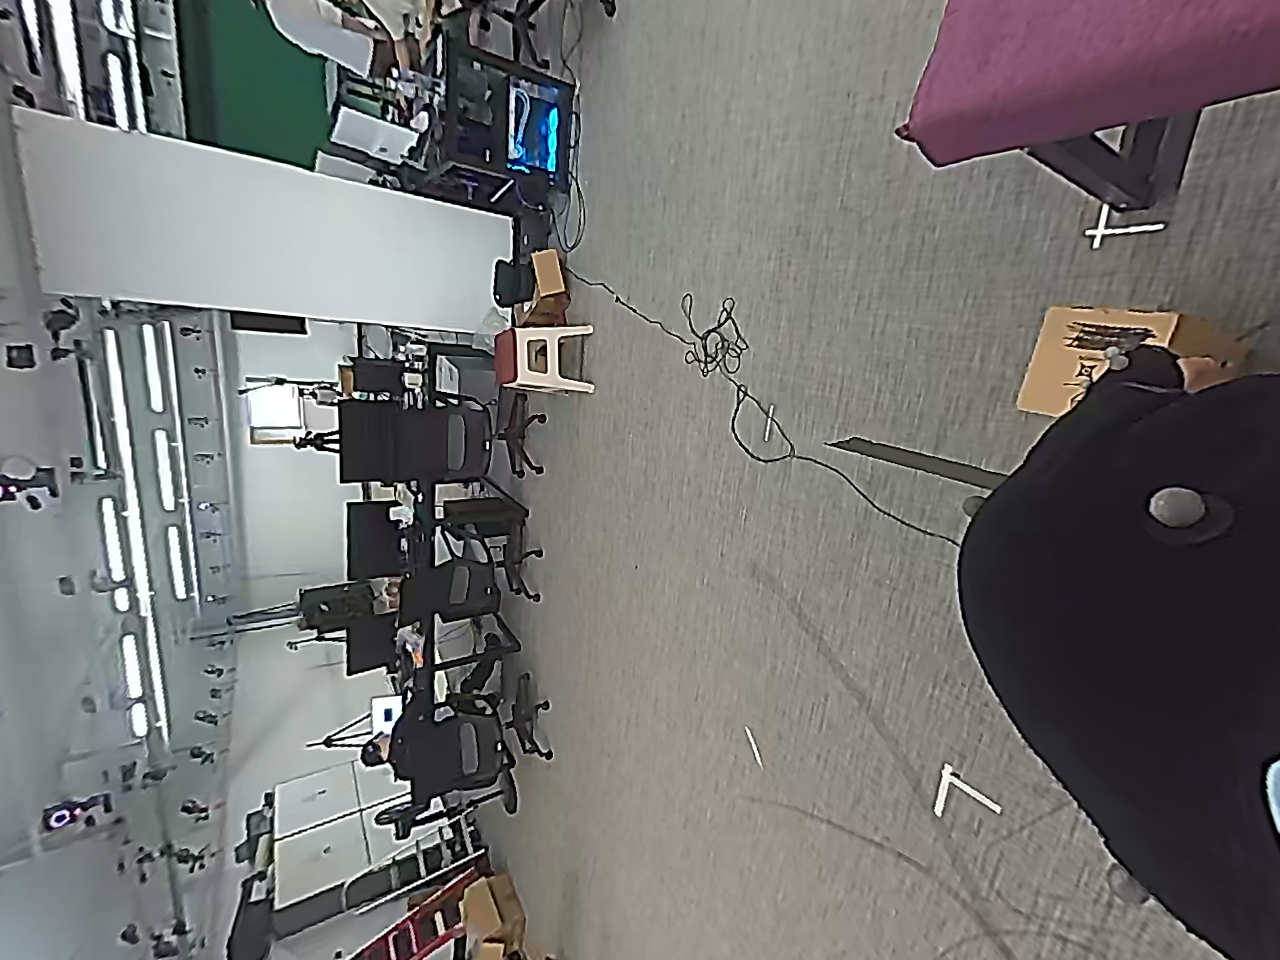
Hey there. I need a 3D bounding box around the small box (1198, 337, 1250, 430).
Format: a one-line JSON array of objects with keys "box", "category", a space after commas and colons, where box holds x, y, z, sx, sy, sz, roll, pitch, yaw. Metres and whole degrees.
[{"box": [1.042, -0.201, 1.067, 0.168, 0.176, 0.179, 34, 121, 50], "category": "small box"}]

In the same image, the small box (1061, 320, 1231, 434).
[{"box": [0.909, -0.186, 0.971, 0.168, 0.176, 0.179, 27, 116, 53], "category": "small box"}]
